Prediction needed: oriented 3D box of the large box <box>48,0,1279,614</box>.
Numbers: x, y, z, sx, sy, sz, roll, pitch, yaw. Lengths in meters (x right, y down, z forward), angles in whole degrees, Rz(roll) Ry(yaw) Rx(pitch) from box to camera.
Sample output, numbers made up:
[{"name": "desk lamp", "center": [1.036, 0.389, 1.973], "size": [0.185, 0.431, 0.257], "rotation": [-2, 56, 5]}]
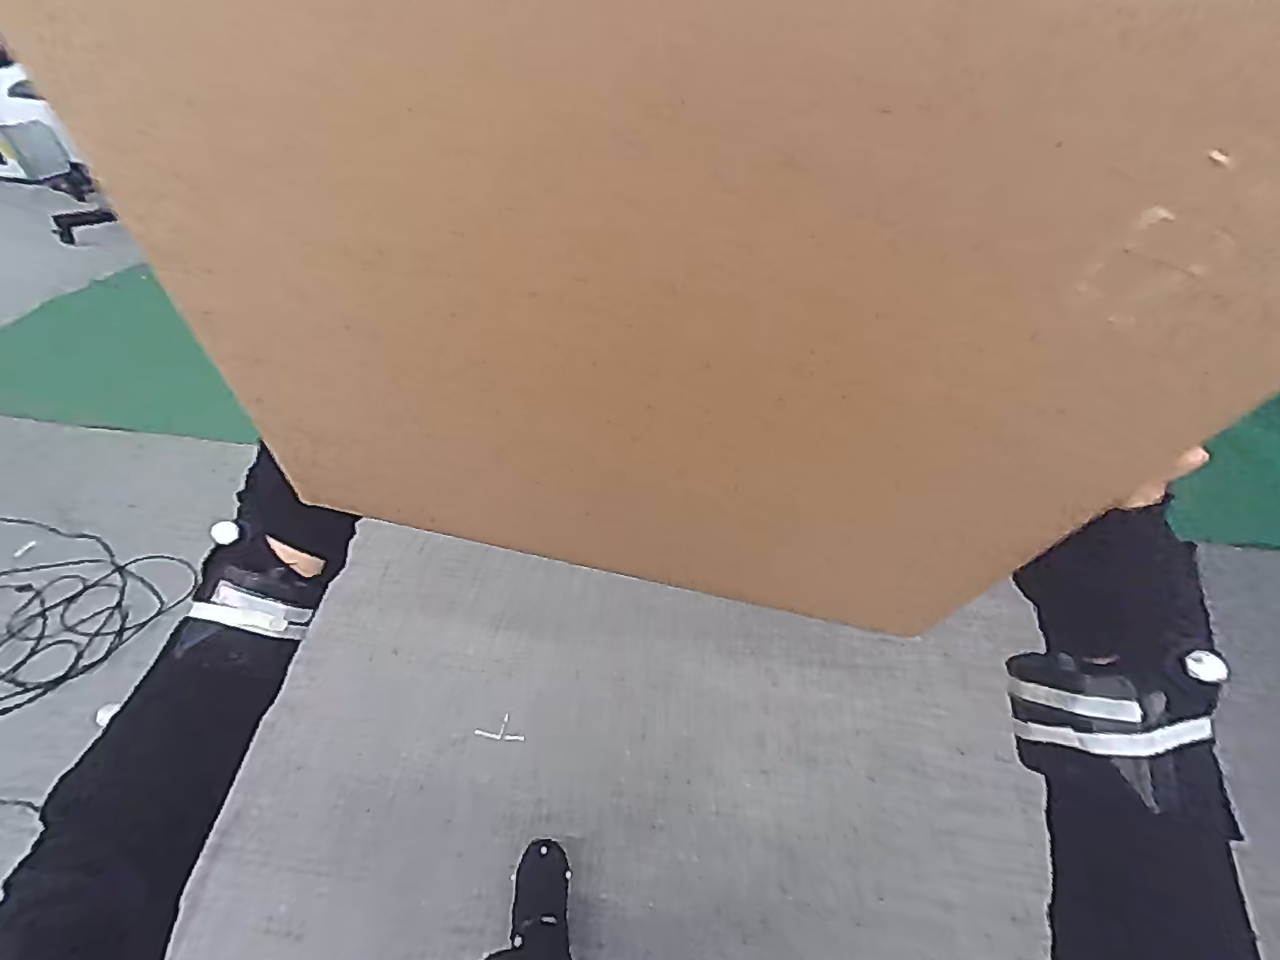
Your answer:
[{"name": "large box", "center": [0.027, -0.154, 0.329], "size": [0.408, 0.320, 0.320], "rotation": [13, 53, 0]}]
